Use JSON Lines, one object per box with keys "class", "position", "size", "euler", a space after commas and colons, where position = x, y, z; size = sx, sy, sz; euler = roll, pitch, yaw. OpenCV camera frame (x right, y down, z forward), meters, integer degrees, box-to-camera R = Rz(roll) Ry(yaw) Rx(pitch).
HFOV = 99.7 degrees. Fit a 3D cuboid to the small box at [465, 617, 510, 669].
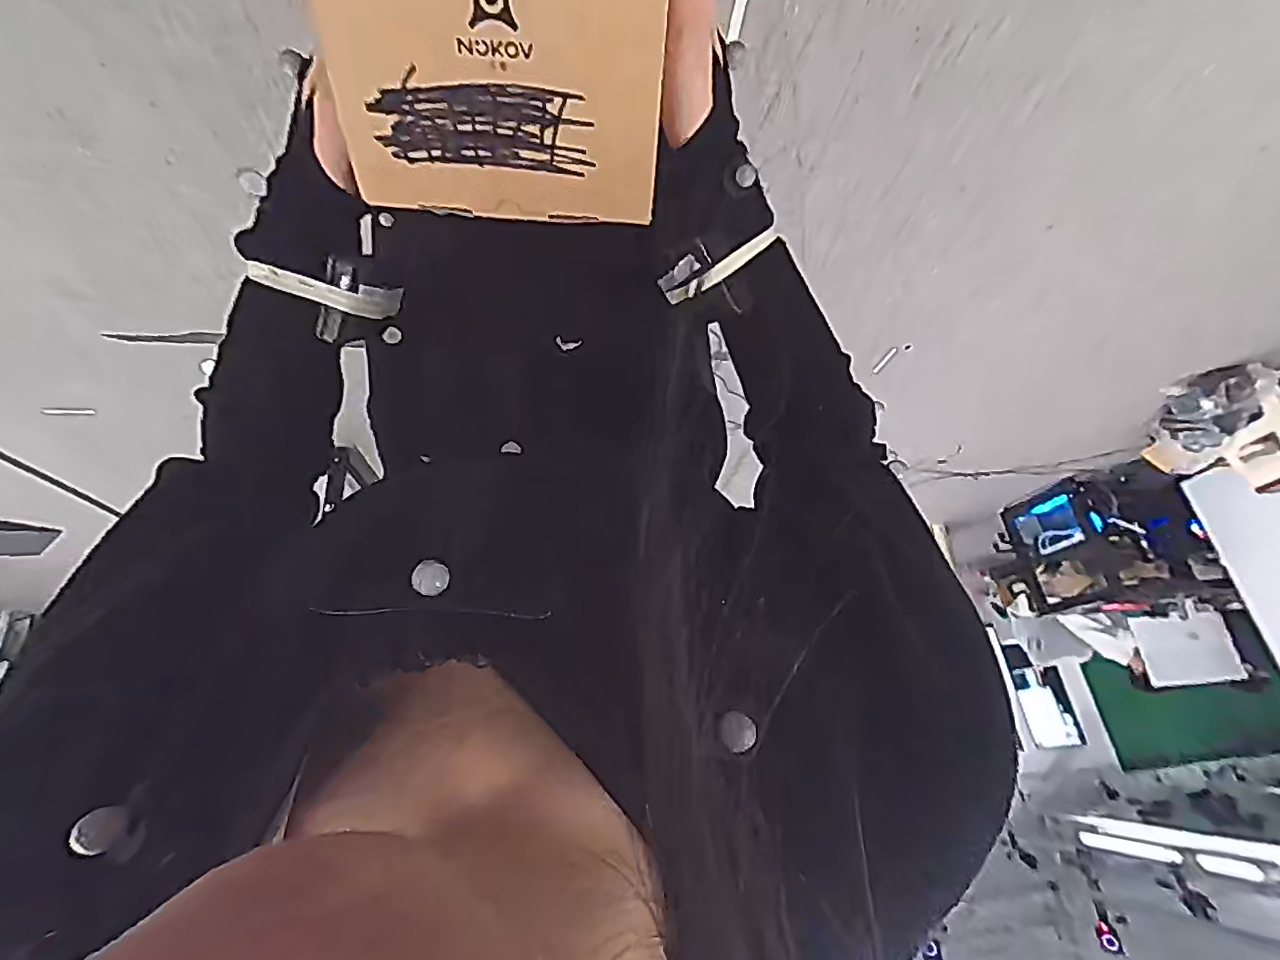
{"class": "small box", "position": [-0.594, 0.639, 2.122], "size": [0.168, 0.176, 0.179], "euler": [-1, 156, -13]}
